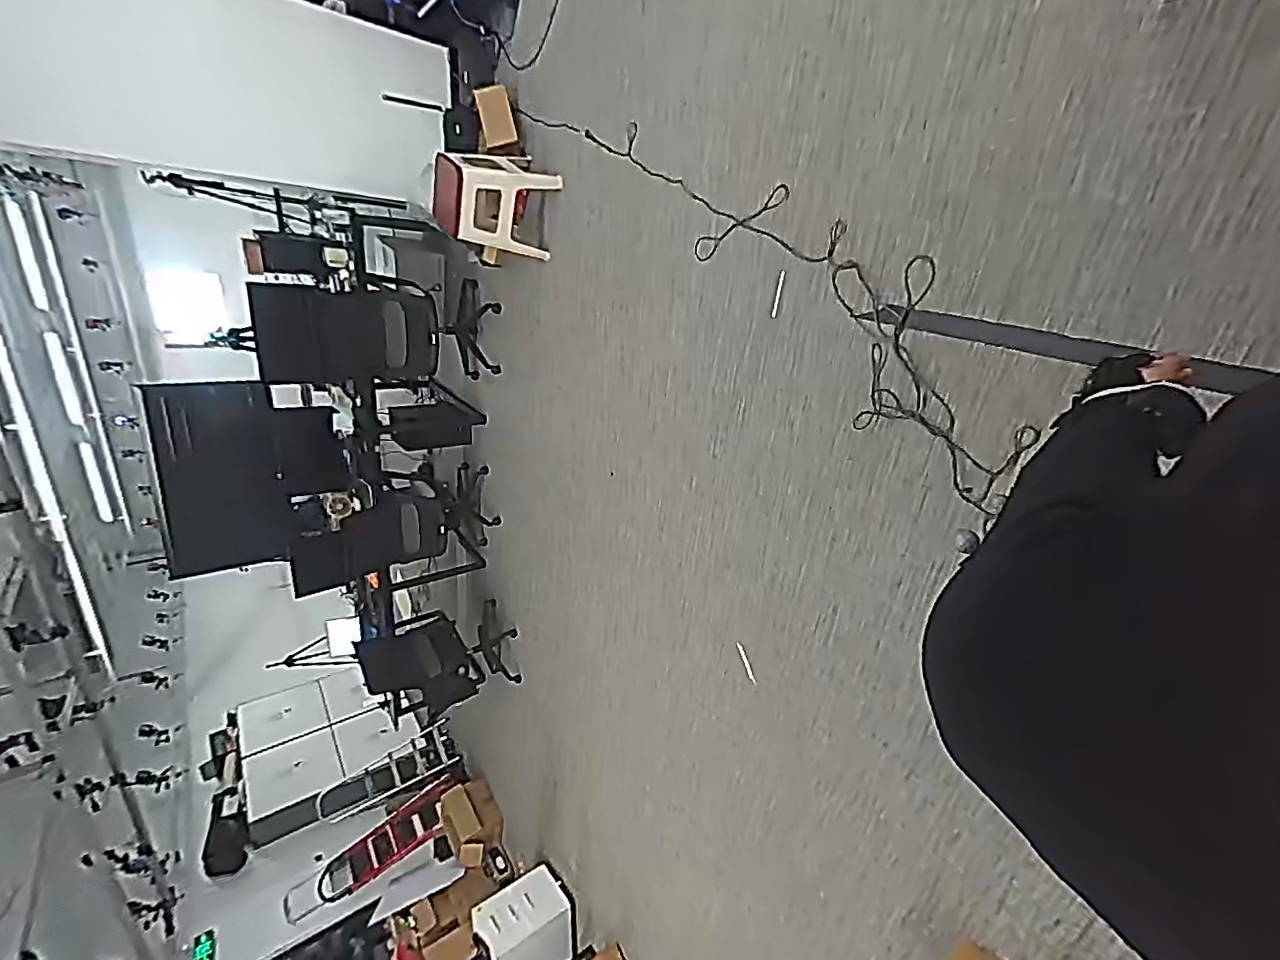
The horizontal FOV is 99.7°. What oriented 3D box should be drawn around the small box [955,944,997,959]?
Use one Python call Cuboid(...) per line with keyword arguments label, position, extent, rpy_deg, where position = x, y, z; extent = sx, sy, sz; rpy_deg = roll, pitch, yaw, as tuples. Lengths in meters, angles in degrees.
Cuboid(label="small box", position=(0.911, 1.393, 1.435), extent=(0.179, 0.176, 0.168), rpy_deg=(26, 119, 47))
